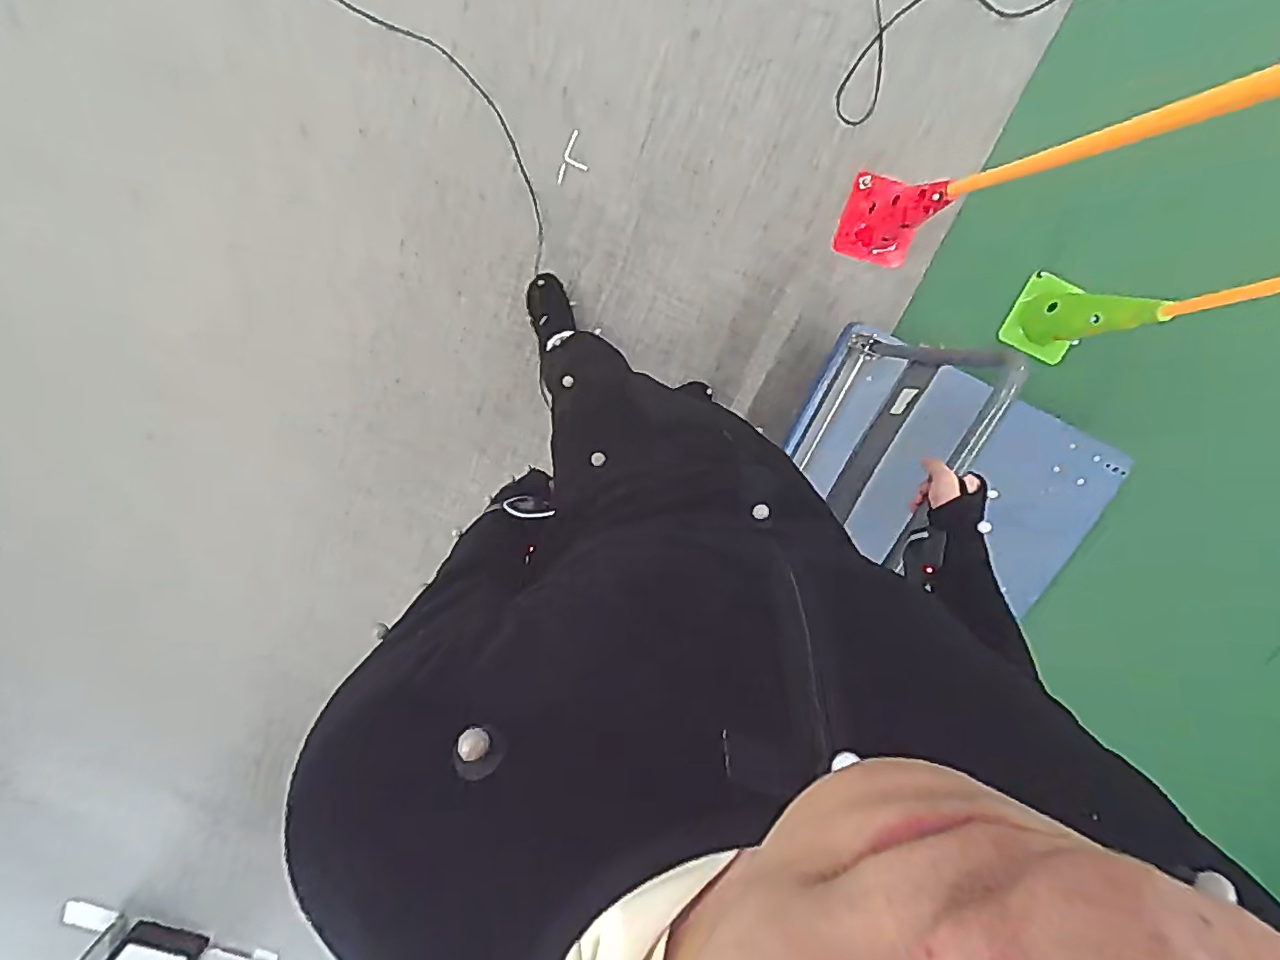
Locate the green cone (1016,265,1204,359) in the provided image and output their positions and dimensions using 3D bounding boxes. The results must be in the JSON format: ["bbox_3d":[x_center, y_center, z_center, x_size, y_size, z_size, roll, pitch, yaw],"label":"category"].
[{"bbox_3d":[1.129,-0.401,1.277,0.202,0.368,0.200,21,104,-6],"label":"green cone"}]
